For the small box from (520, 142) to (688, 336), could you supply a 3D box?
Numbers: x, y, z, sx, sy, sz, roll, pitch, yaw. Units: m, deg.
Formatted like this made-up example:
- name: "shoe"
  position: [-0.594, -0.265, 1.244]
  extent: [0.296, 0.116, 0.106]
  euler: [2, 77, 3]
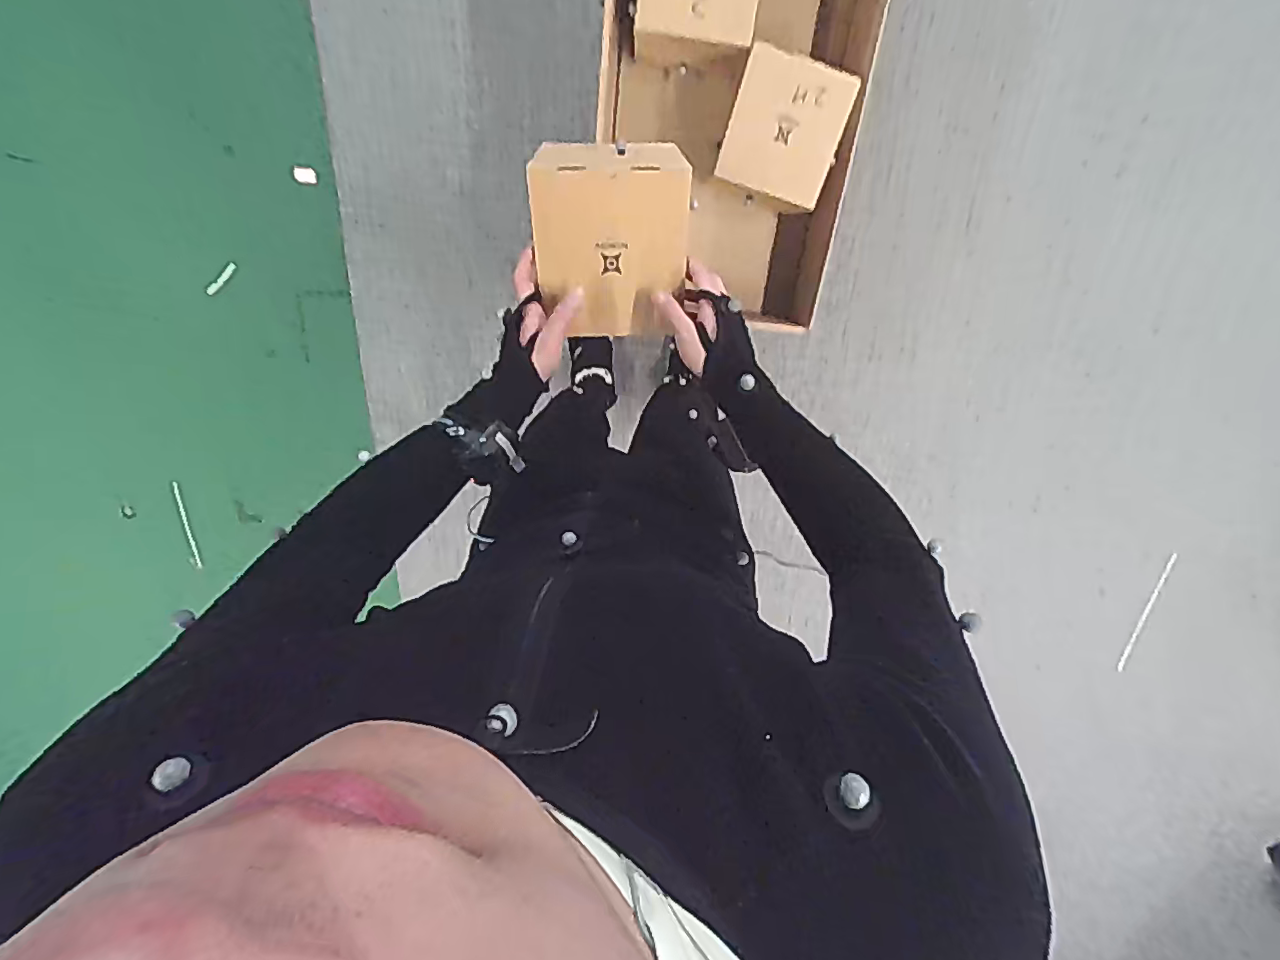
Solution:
- name: "small box"
  position: [-0.037, -0.285, 0.634]
  extent: [0.168, 0.176, 0.179]
  euler: [-2, 127, -2]
